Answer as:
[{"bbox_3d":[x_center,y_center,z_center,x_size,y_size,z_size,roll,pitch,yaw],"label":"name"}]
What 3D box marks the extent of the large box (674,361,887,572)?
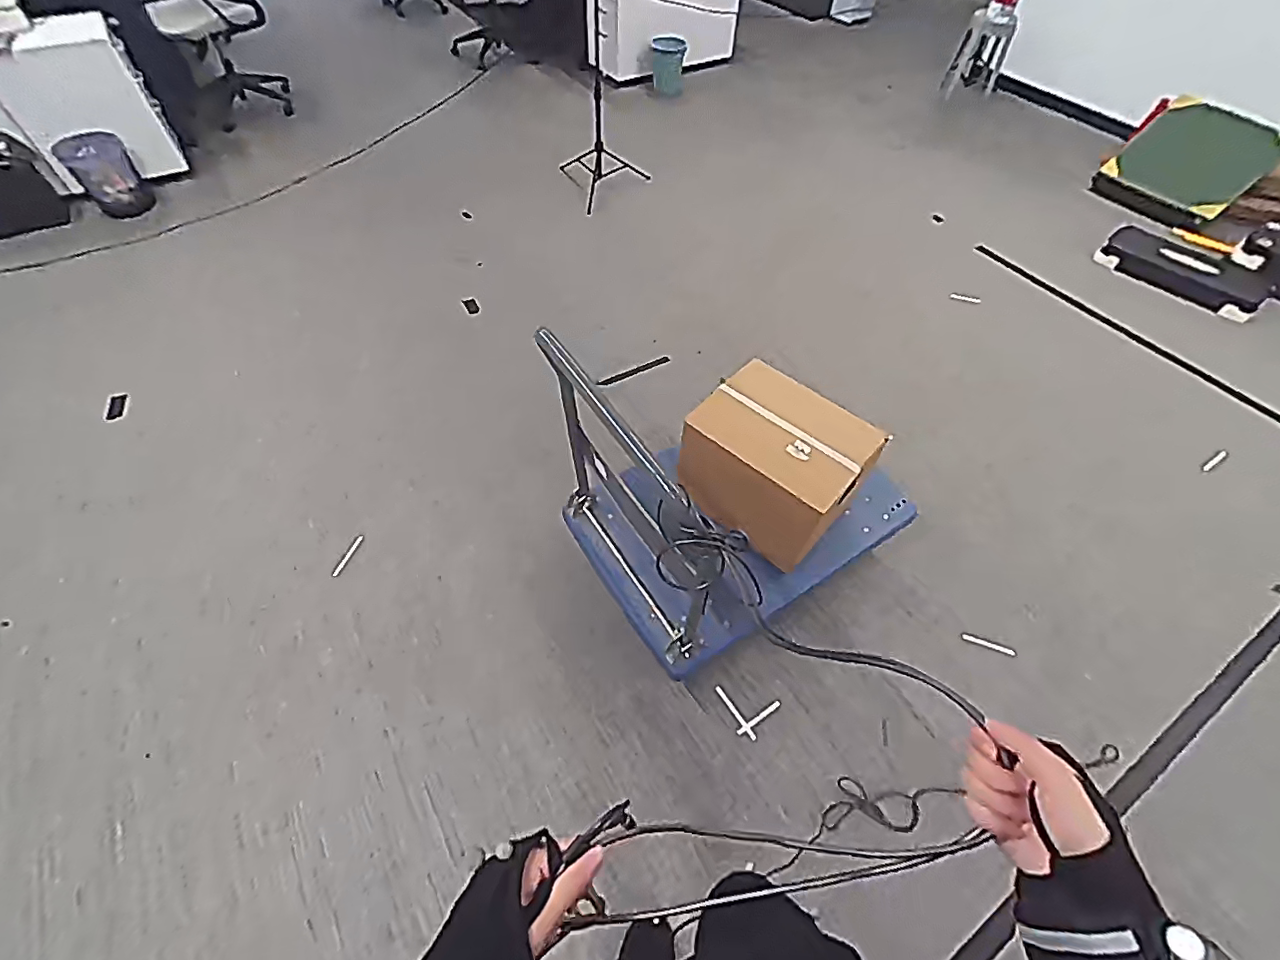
[{"bbox_3d":[0.347,-0.038,1.434,0.408,0.320,0.320,37,62,21],"label":"large box"}]
